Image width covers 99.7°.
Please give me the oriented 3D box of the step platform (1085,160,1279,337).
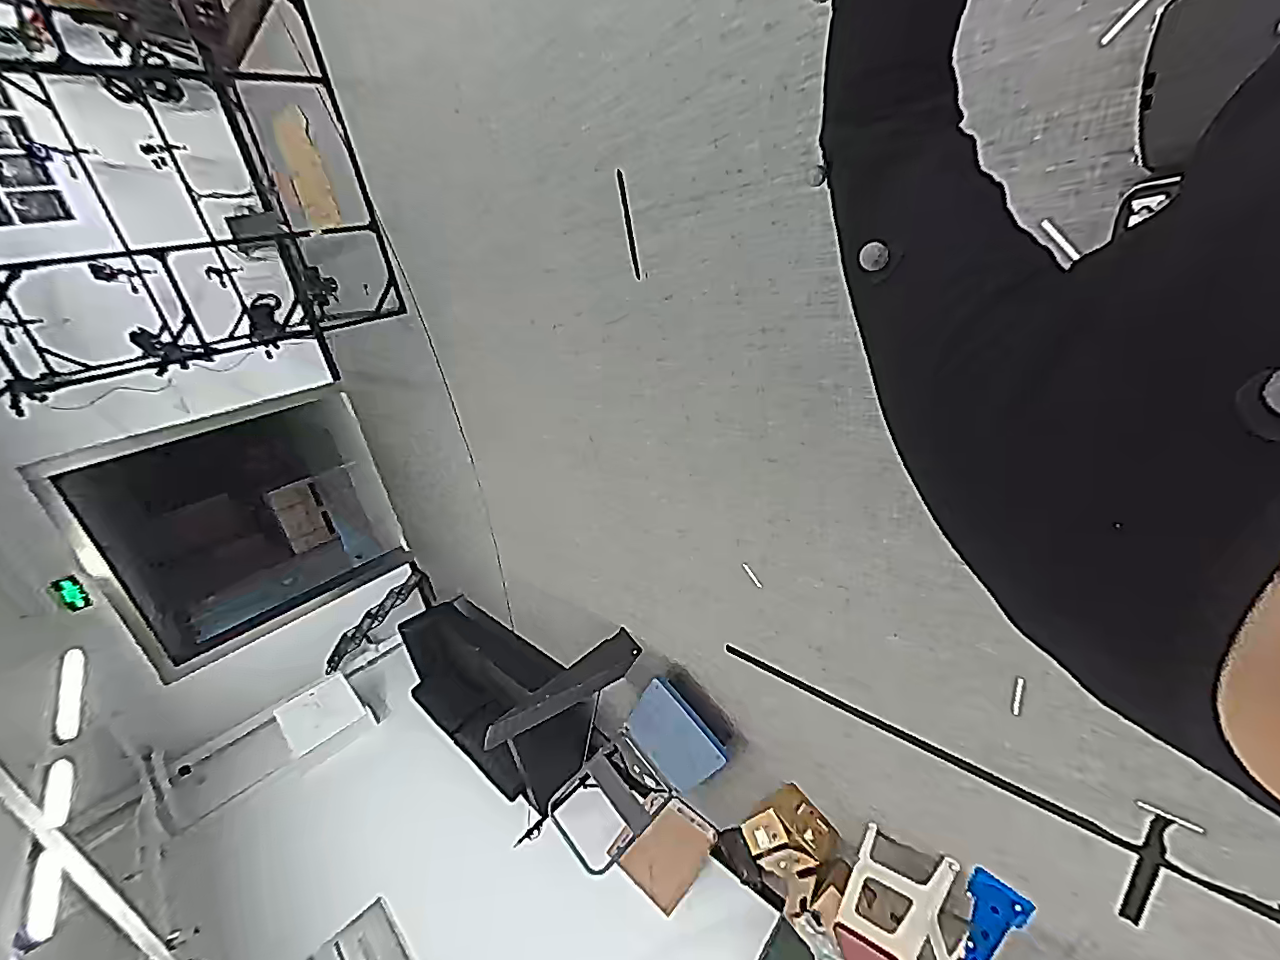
[{"bbox_3d":[1.173,-0.399,0.888,0.684,0.204,0.286,13,122,47],"label":"step platform"}]
